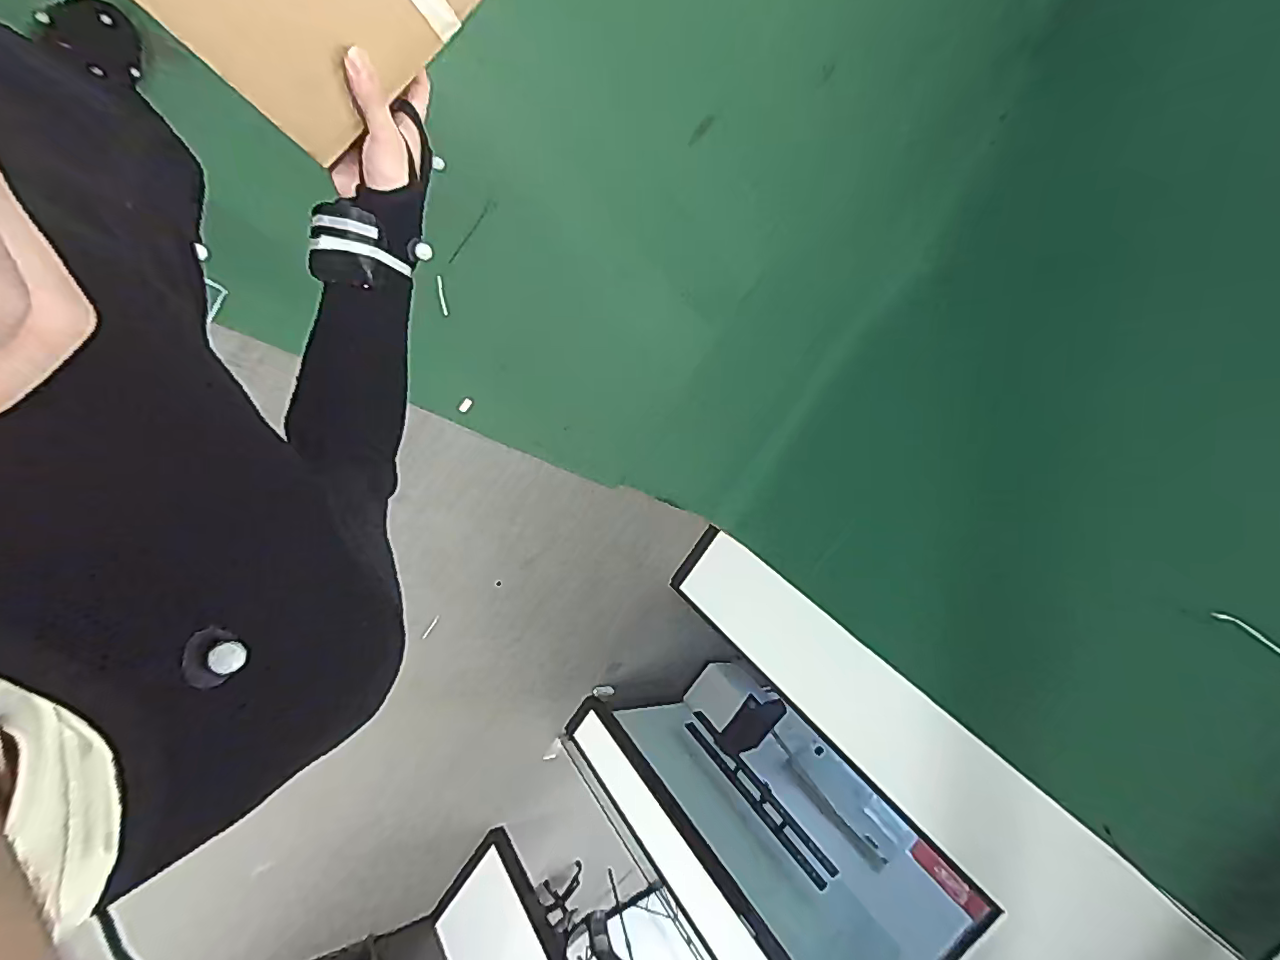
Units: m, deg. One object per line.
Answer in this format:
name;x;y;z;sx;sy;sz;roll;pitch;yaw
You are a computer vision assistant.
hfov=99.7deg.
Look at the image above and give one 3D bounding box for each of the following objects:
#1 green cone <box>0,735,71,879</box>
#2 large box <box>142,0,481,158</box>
green cone;-1.723;0.908;1.464;0.202;0.368;0.200;-53;143;3
large box;-0.317;-0.547;0.374;0.320;0.320;0.408;-38;146;12
